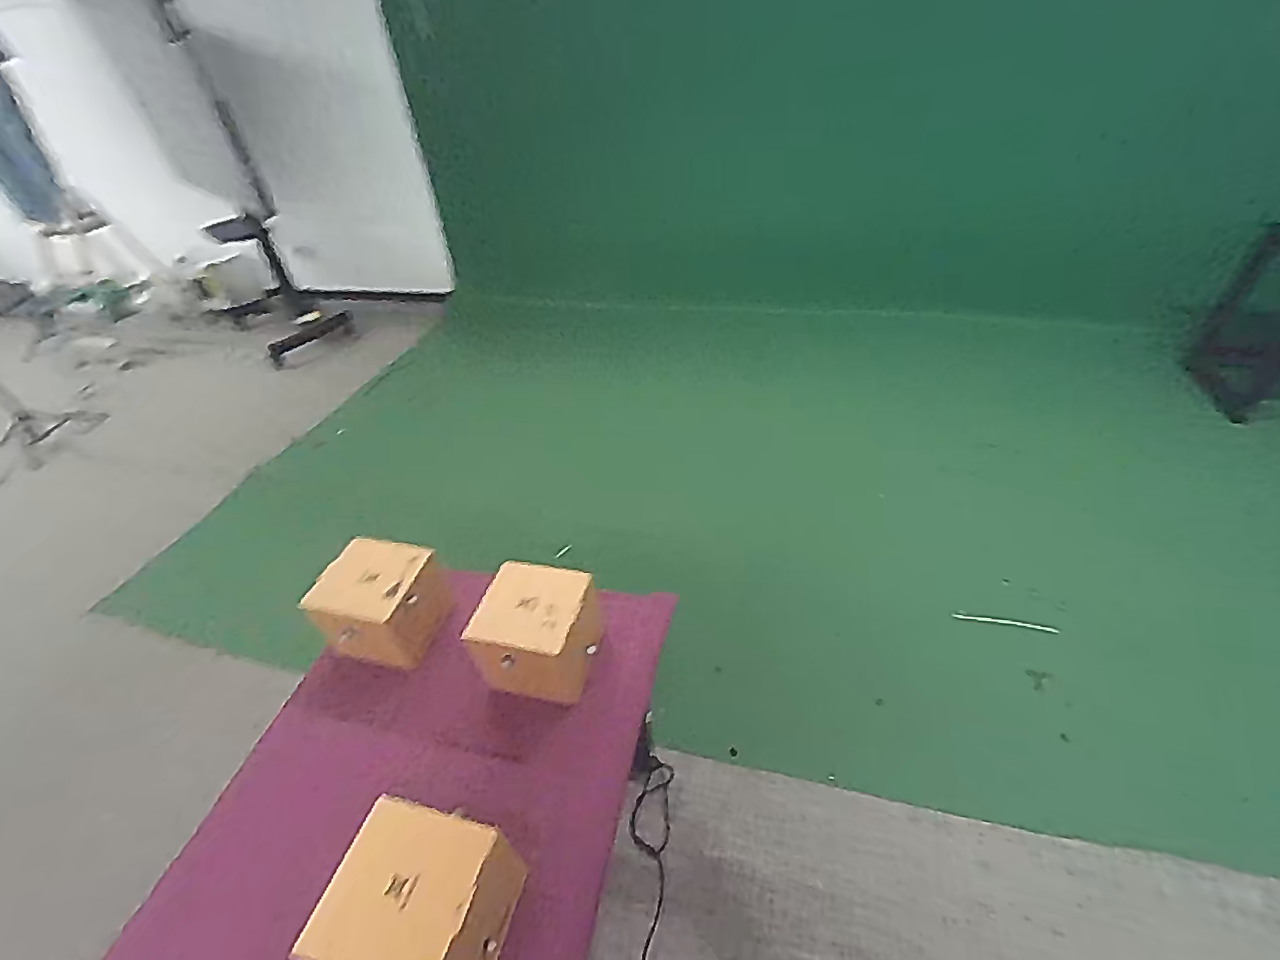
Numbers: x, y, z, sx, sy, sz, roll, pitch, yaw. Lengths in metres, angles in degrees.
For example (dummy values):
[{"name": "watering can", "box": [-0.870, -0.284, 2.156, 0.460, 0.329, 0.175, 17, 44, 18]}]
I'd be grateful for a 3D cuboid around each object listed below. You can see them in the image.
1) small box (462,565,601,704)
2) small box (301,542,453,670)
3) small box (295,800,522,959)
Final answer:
[{"name": "small box", "box": [-0.183, 0.279, 0.976, 0.179, 0.176, 0.168, 6, 42, 15]}, {"name": "small box", "box": [-0.495, 0.245, 1.046, 0.179, 0.176, 0.168, 7, 44, 12]}, {"name": "small box", "box": [-0.272, 0.542, 0.681, 0.179, 0.176, 0.168, 6, 41, 14]}]
